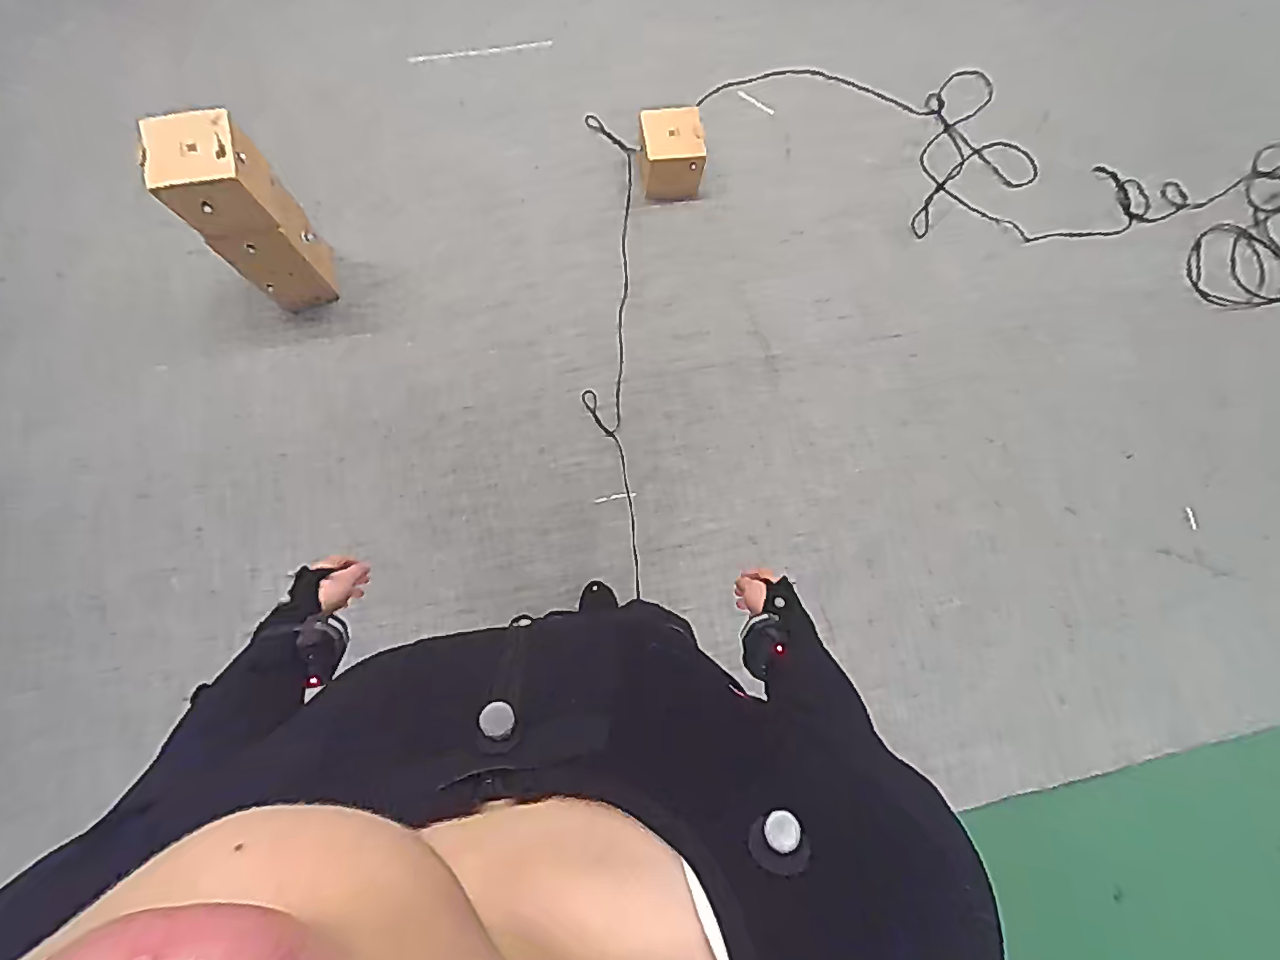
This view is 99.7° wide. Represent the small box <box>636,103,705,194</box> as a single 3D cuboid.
[{"bbox_3d":[0.084,-0.994,1.634,0.179,0.176,0.168,-8,81,-6],"label":"small box"}]

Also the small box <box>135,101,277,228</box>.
[{"bbox_3d":[-0.937,-0.677,1.179,0.179,0.176,0.168,-12,82,-6],"label":"small box"}]

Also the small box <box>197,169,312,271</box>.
[{"bbox_3d":[-0.953,-0.641,1.338,0.179,0.176,0.168,-12,82,-7],"label":"small box"}]
